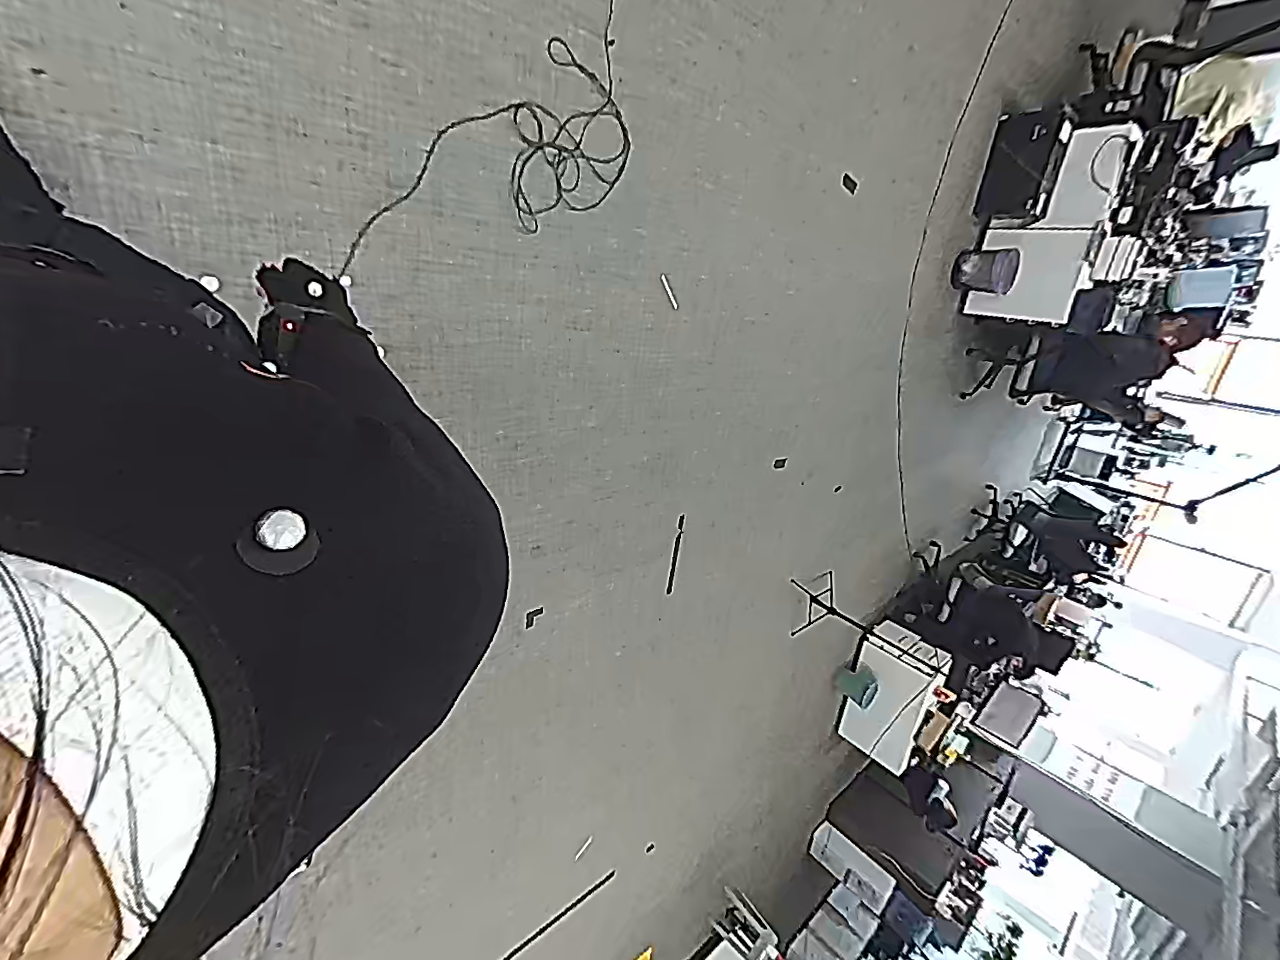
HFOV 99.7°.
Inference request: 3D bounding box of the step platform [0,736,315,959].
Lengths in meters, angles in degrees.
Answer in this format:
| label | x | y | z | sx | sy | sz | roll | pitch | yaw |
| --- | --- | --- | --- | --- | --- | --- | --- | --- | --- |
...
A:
| label | x | y | z | sx | sy | sz | roll | pitch | yaw |
| --- | --- | --- | --- | --- | --- | --- | --- | --- | --- |
| step platform | -1.181 | 0.924 | 1.303 | 0.684 | 0.204 | 0.286 | -12 | 117 | -39 |
